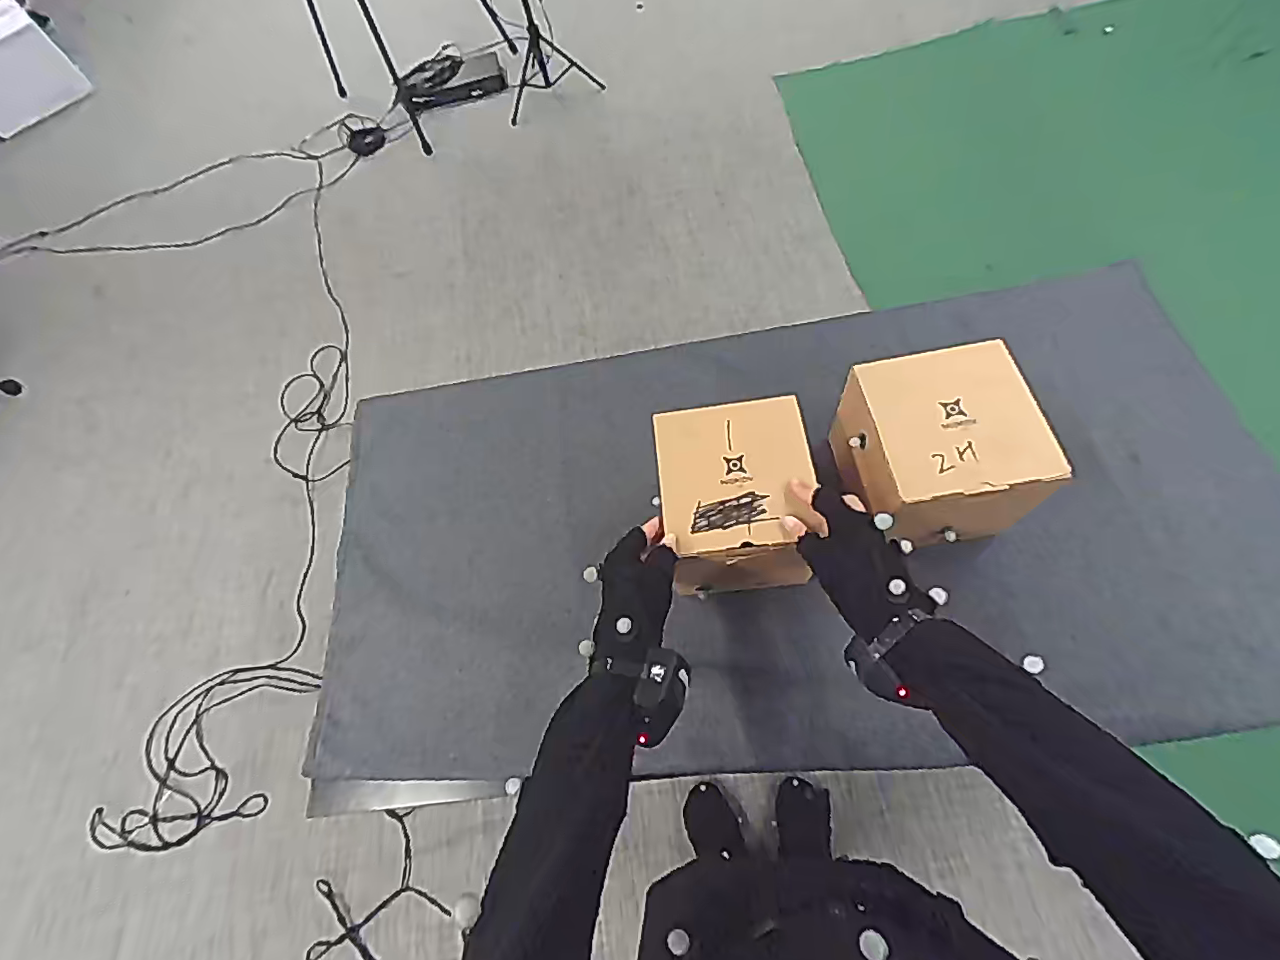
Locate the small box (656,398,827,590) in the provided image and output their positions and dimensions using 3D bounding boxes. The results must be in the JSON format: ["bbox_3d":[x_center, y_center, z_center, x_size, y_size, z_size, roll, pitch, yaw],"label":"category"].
[{"bbox_3d":[0.116,0.029,0.653,0.168,0.176,0.179,-7,63,6],"label":"small box"}]

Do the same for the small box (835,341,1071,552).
[{"bbox_3d":[0.344,-0.031,0.642,0.168,0.176,0.179,-10,64,6],"label":"small box"}]
